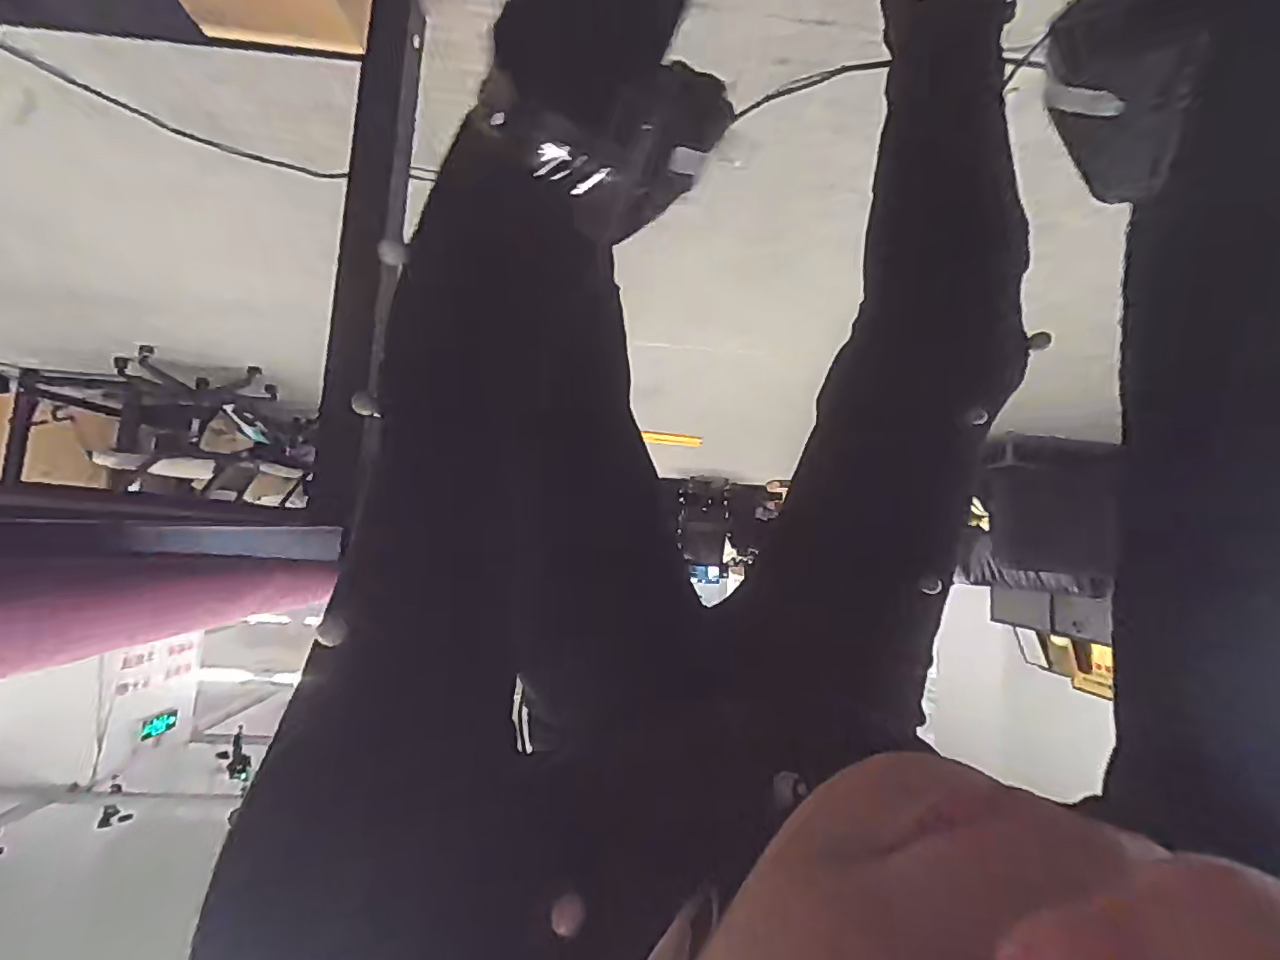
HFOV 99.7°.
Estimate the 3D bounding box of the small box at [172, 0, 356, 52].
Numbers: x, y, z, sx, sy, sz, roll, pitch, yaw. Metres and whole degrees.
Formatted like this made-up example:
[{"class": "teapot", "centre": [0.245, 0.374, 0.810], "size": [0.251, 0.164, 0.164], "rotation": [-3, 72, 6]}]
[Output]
[{"class": "small box", "centre": [-0.366, -0.548, 0.490], "size": [0.168, 0.176, 0.179], "rotation": [4, 174, -3]}]
